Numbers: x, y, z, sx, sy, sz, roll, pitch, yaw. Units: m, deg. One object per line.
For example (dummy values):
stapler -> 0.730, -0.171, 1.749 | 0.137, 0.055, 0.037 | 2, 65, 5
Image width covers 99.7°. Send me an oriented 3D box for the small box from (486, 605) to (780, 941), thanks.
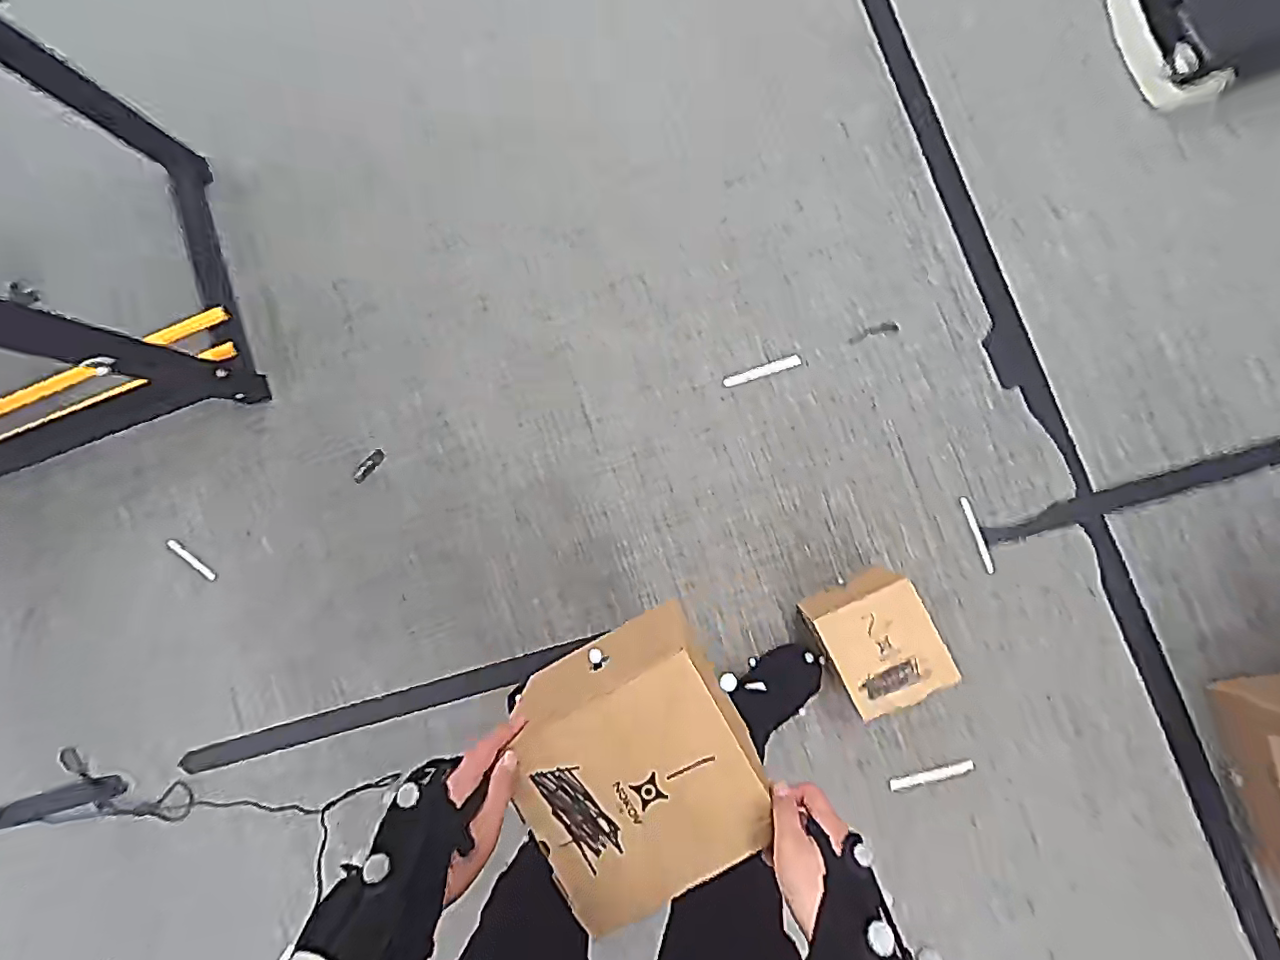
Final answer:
small box -> -0.005, 0.239, 0.490 | 0.179, 0.176, 0.168 | -30, 92, 0
